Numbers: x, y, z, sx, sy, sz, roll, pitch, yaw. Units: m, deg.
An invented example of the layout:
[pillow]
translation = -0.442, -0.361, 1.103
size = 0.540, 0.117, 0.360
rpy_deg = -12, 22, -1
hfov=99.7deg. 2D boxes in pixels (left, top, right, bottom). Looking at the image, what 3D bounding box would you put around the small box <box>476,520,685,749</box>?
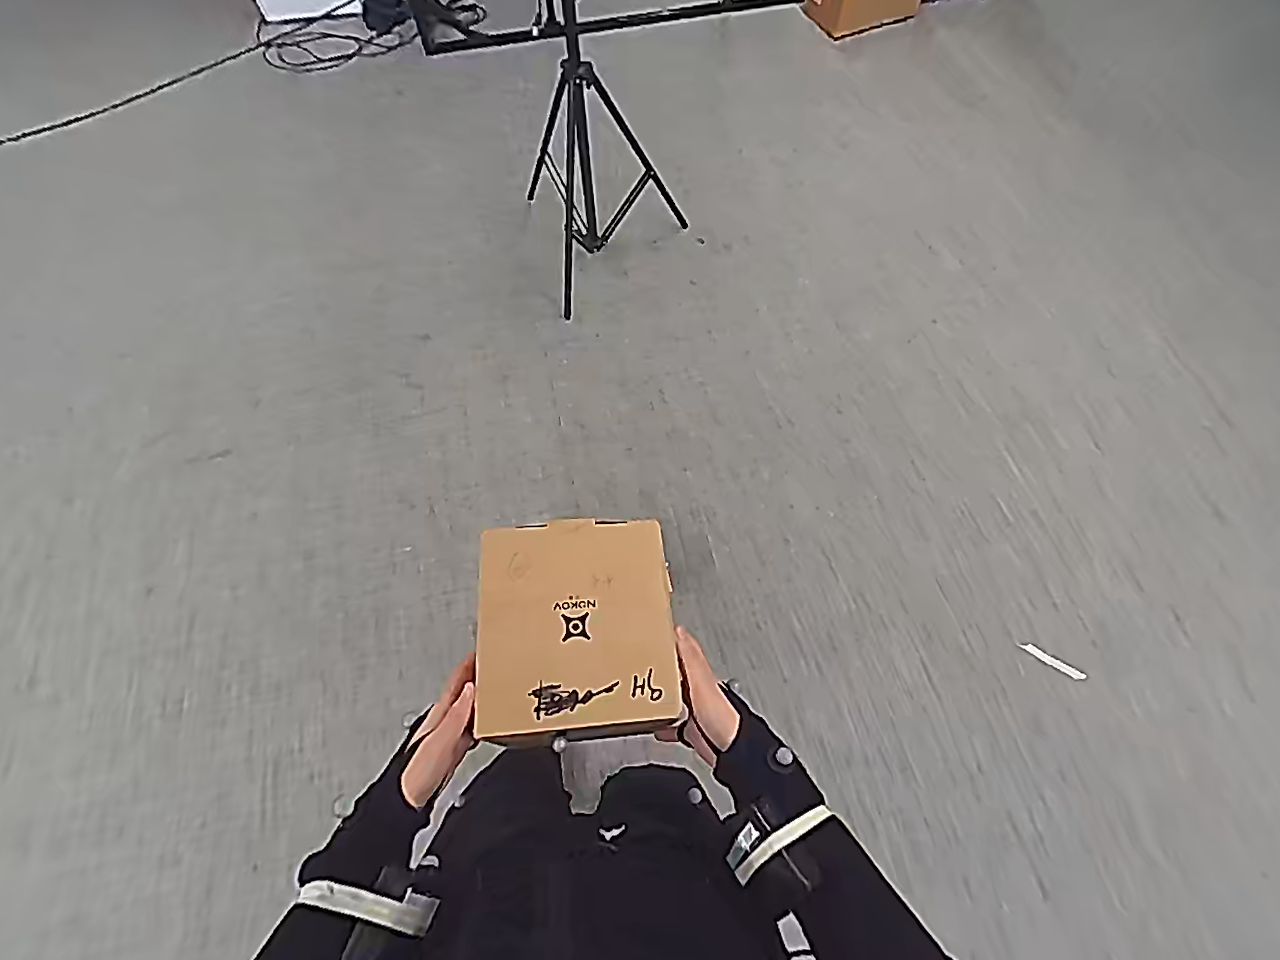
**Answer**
[small box]
translation = -0.060, 0.155, 0.529
size = 0.168, 0.176, 0.179
rpy_deg = -3, 62, -7
